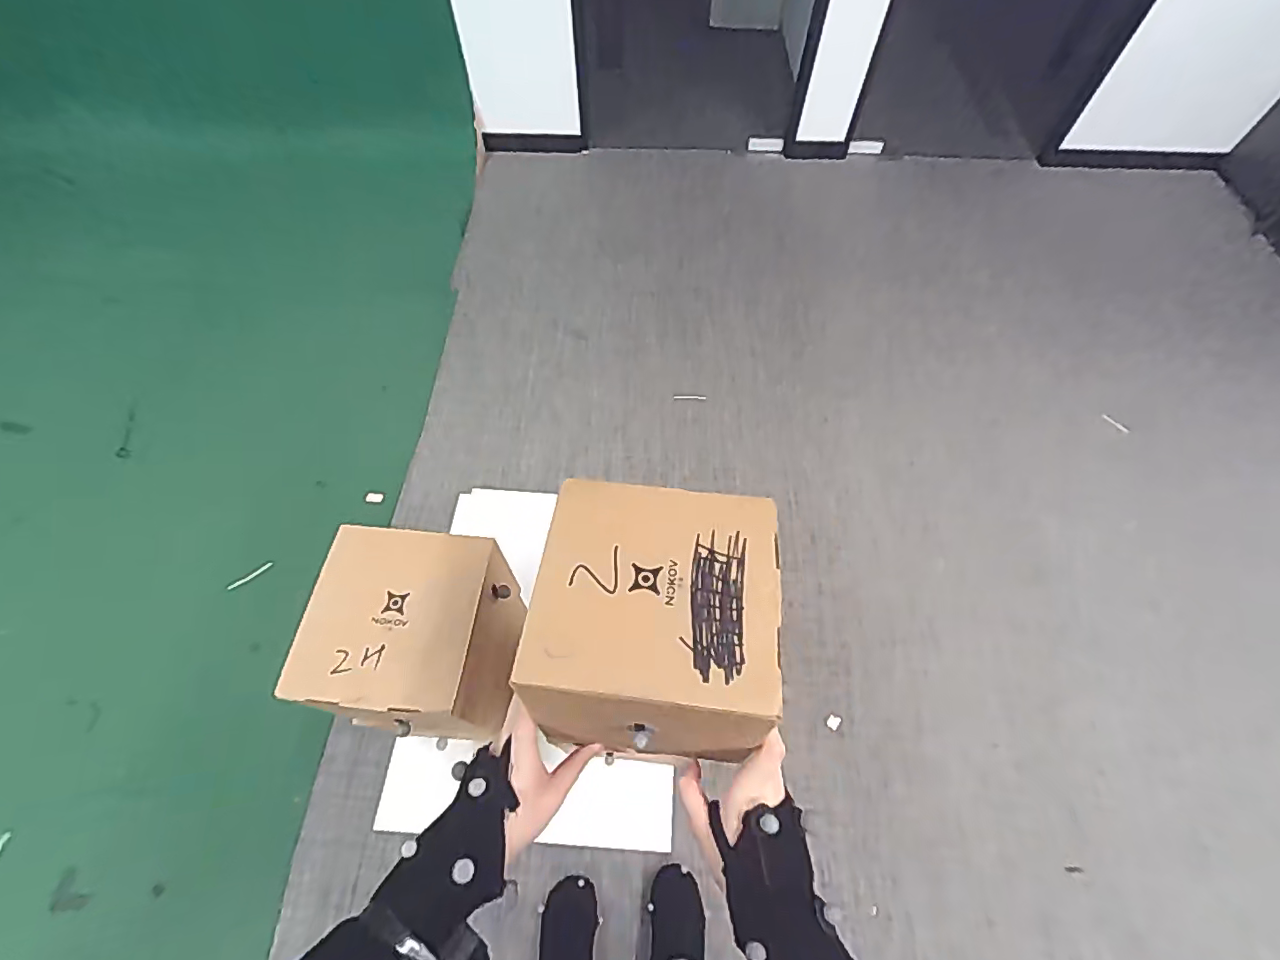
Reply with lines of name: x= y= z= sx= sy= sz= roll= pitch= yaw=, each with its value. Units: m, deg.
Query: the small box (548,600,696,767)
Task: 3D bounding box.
small box: x=-0.018 y=0.278 z=0.730 sx=0.168 sy=0.176 sz=0.179 roll=5 pitch=61 yaw=3

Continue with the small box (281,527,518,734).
small box: x=-0.240 y=0.171 z=0.598 sx=0.168 sy=0.176 sz=0.179 roll=5 pitch=60 yaw=2

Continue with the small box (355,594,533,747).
small box: x=-0.248 y=0.257 z=0.738 sx=0.168 sy=0.176 sz=0.179 roll=4 pitch=61 yaw=1
